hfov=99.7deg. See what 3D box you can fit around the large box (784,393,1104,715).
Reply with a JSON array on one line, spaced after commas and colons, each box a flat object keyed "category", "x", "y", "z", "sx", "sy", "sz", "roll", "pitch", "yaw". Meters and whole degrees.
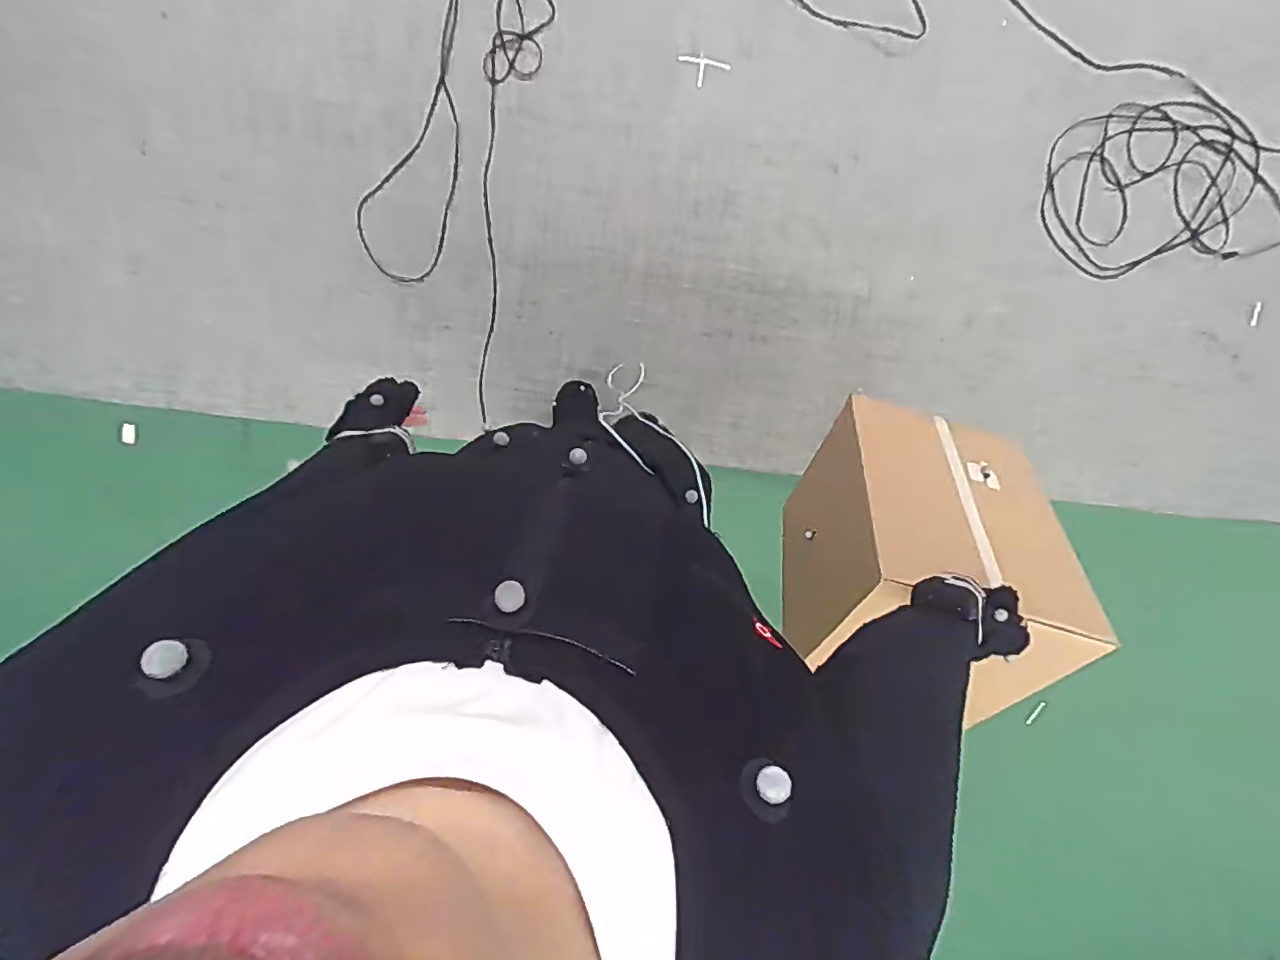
[{"category": "large box", "x": 0.451, "y": 0.122, "z": 0.928, "sx": 0.320, "sy": 0.408, "sz": 0.320, "roll": 17, "pitch": 135, "yaw": -2}]
